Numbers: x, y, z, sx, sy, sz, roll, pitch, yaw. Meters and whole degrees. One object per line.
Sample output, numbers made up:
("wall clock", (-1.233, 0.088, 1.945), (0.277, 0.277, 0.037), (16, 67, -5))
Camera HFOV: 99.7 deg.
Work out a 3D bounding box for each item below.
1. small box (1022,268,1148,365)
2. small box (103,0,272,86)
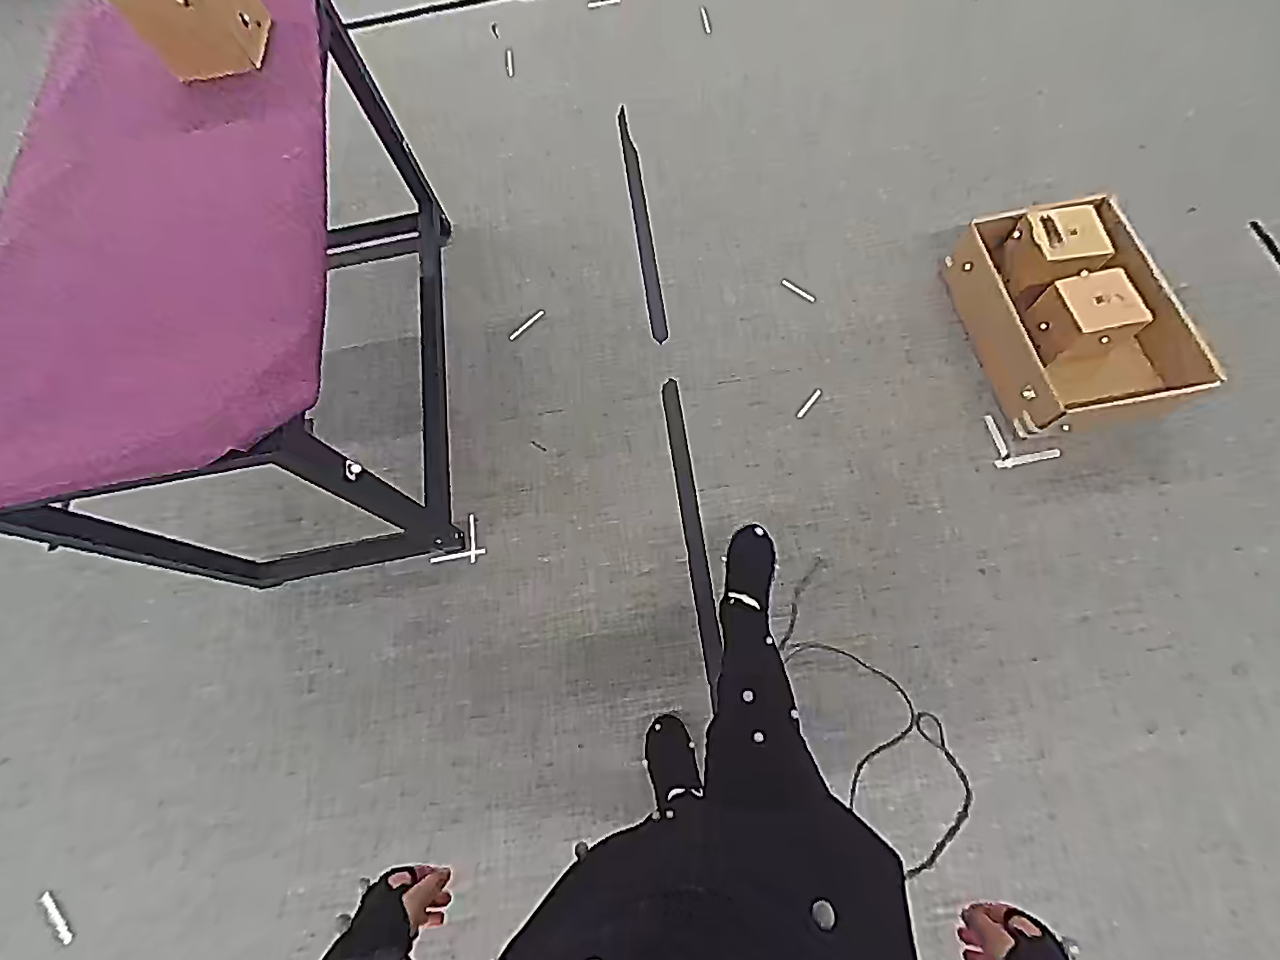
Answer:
("small box", (1.162, -0.426, 1.436), (0.179, 0.176, 0.168), (-11, 69, 1))
("small box", (-0.875, -0.914, 1.059), (0.179, 0.176, 0.168), (-6, 70, 4))
